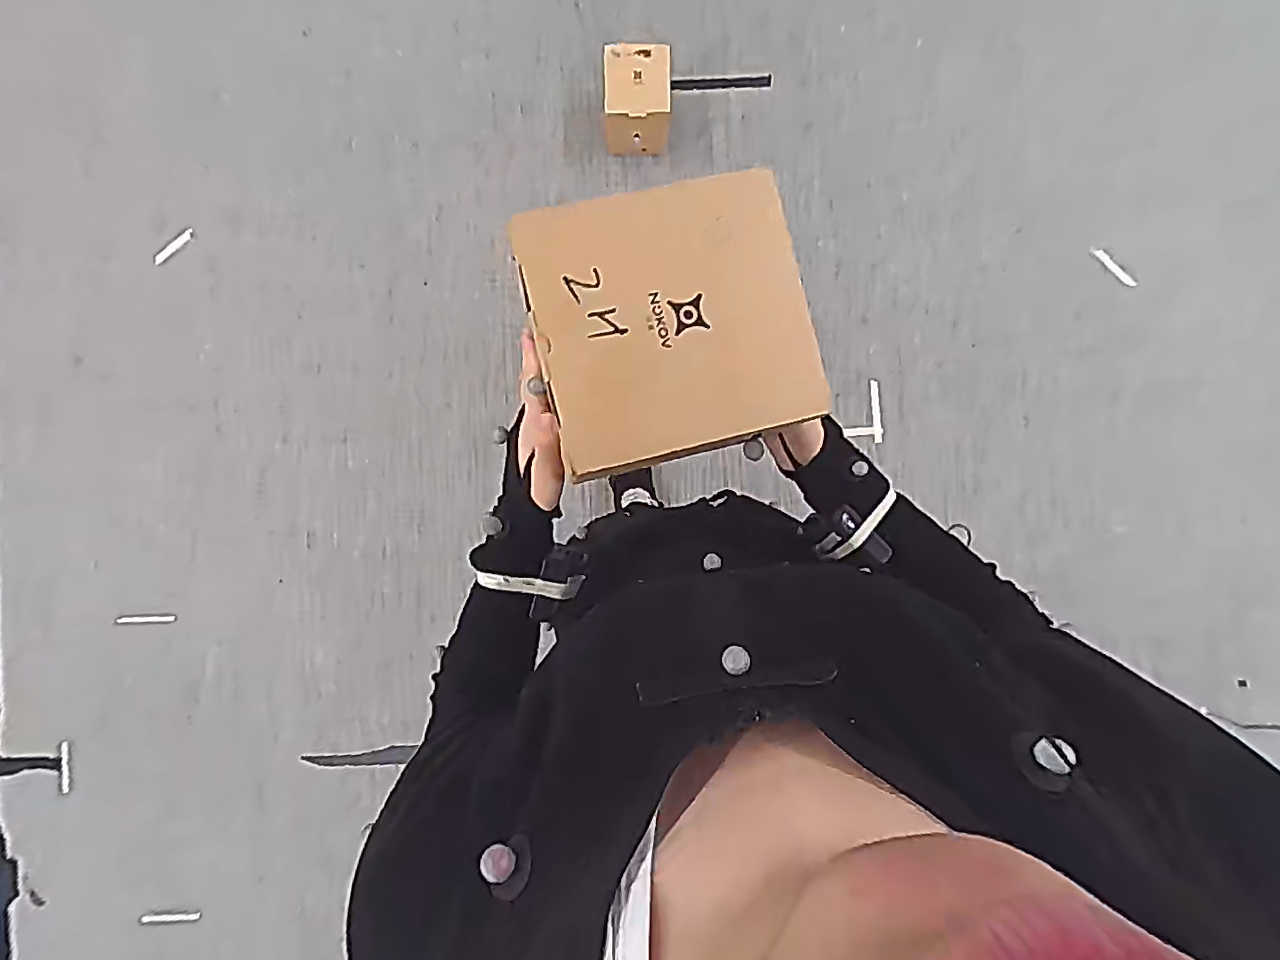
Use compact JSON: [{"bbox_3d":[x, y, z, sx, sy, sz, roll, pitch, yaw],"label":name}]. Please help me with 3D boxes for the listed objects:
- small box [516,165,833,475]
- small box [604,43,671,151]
[{"bbox_3d":[0.014,-0.103,0.417,0.179,0.176,0.168,-14,89,-7],"label":"small box"},{"bbox_3d":[-0.006,-0.994,1.418,0.168,0.176,0.179,0,91,-1],"label":"small box"}]
